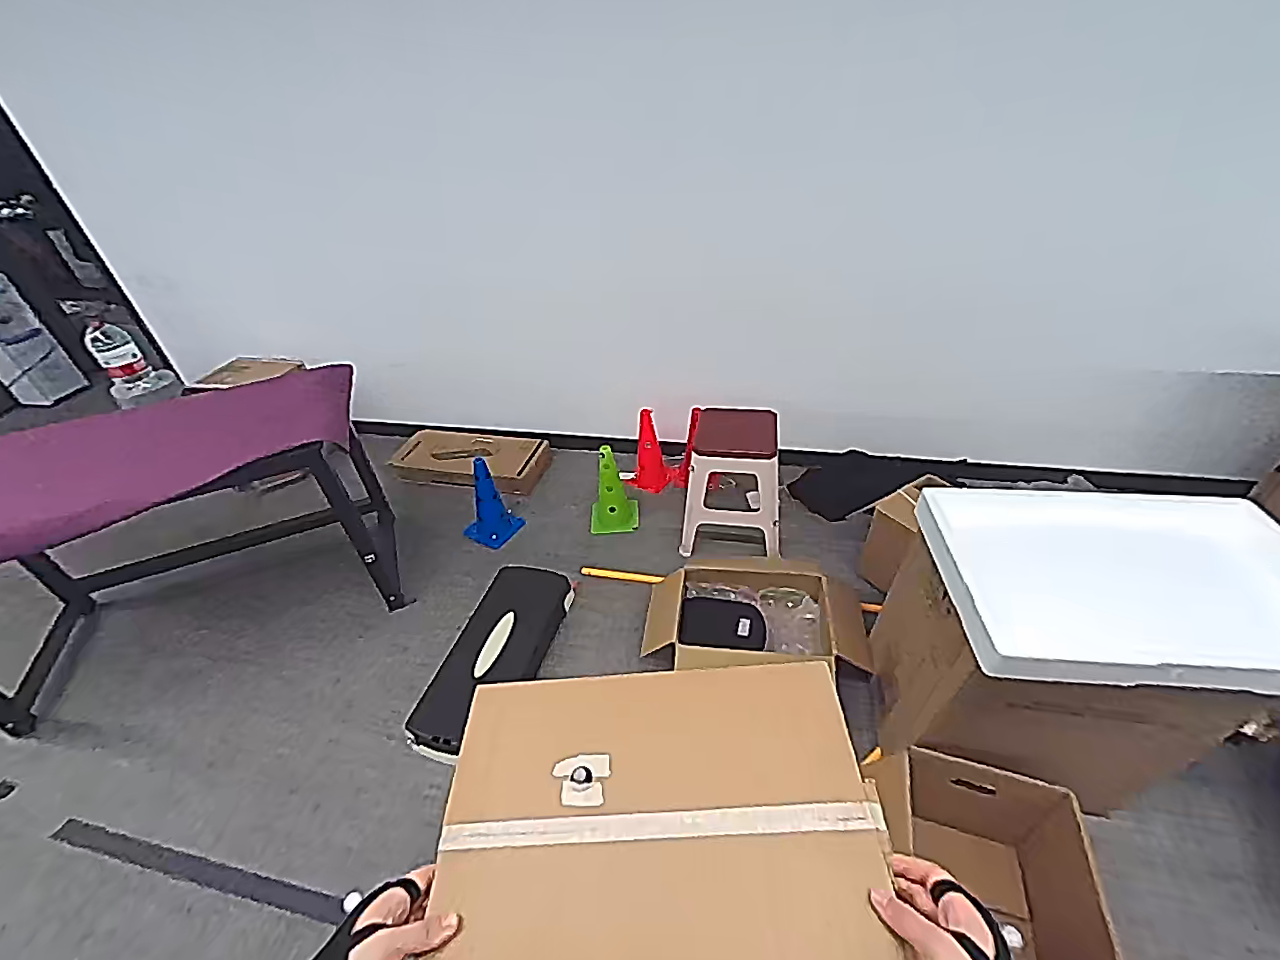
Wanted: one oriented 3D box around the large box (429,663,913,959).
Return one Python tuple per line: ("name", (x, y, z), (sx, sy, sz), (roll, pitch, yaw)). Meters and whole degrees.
("large box", (0.038, 0.442, 0.606), (0.408, 0.320, 0.320), (-8, 39, 6))
